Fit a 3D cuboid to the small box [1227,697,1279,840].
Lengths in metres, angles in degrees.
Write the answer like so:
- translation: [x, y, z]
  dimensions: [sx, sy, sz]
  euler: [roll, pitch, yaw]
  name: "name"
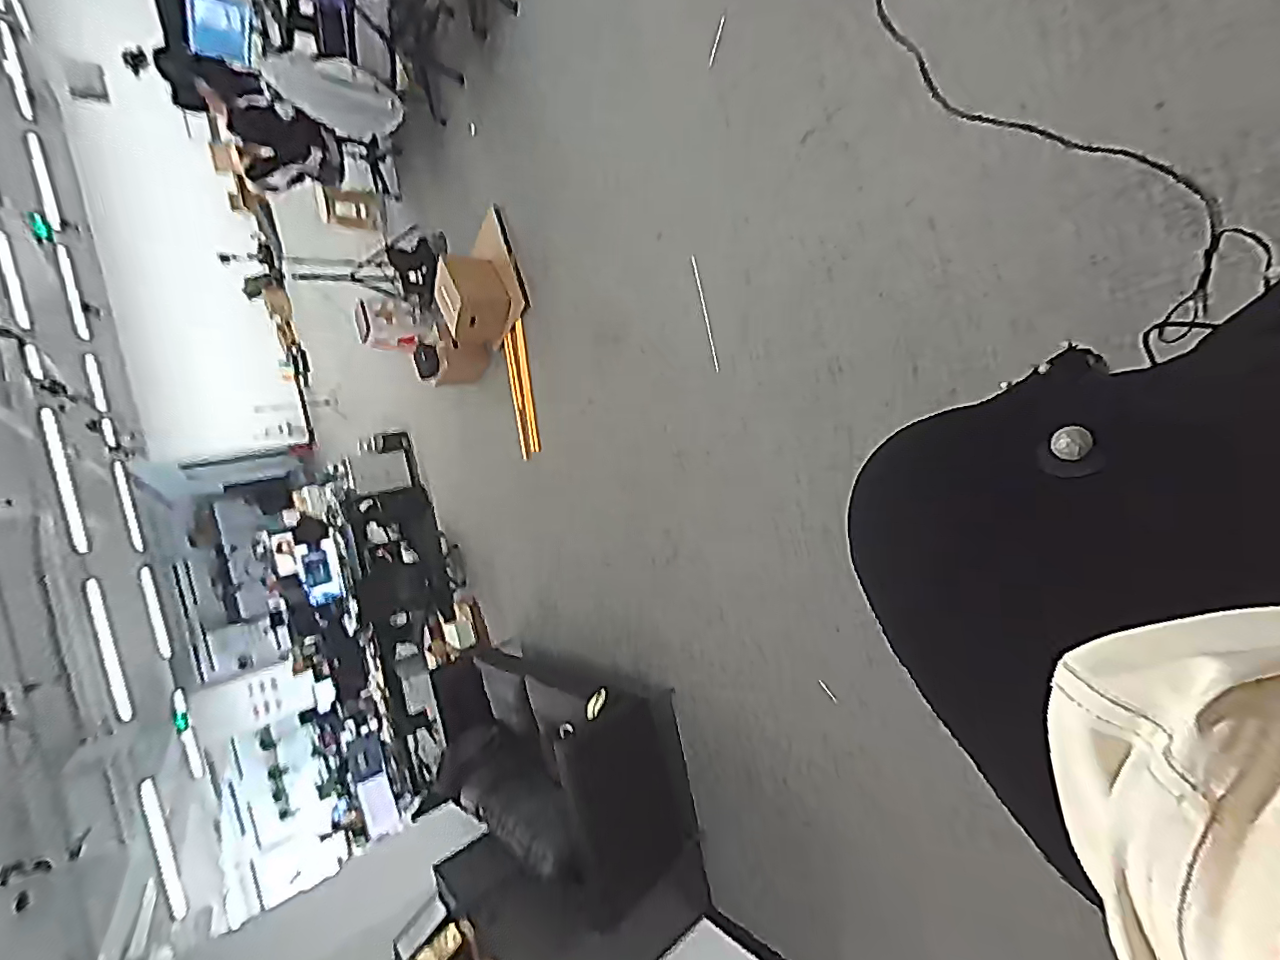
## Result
- translation: [1.148, 0.510, 0.941]
  dimensions: [0.168, 0.176, 0.179]
  euler: [1, 103, 50]
  name: "small box"
